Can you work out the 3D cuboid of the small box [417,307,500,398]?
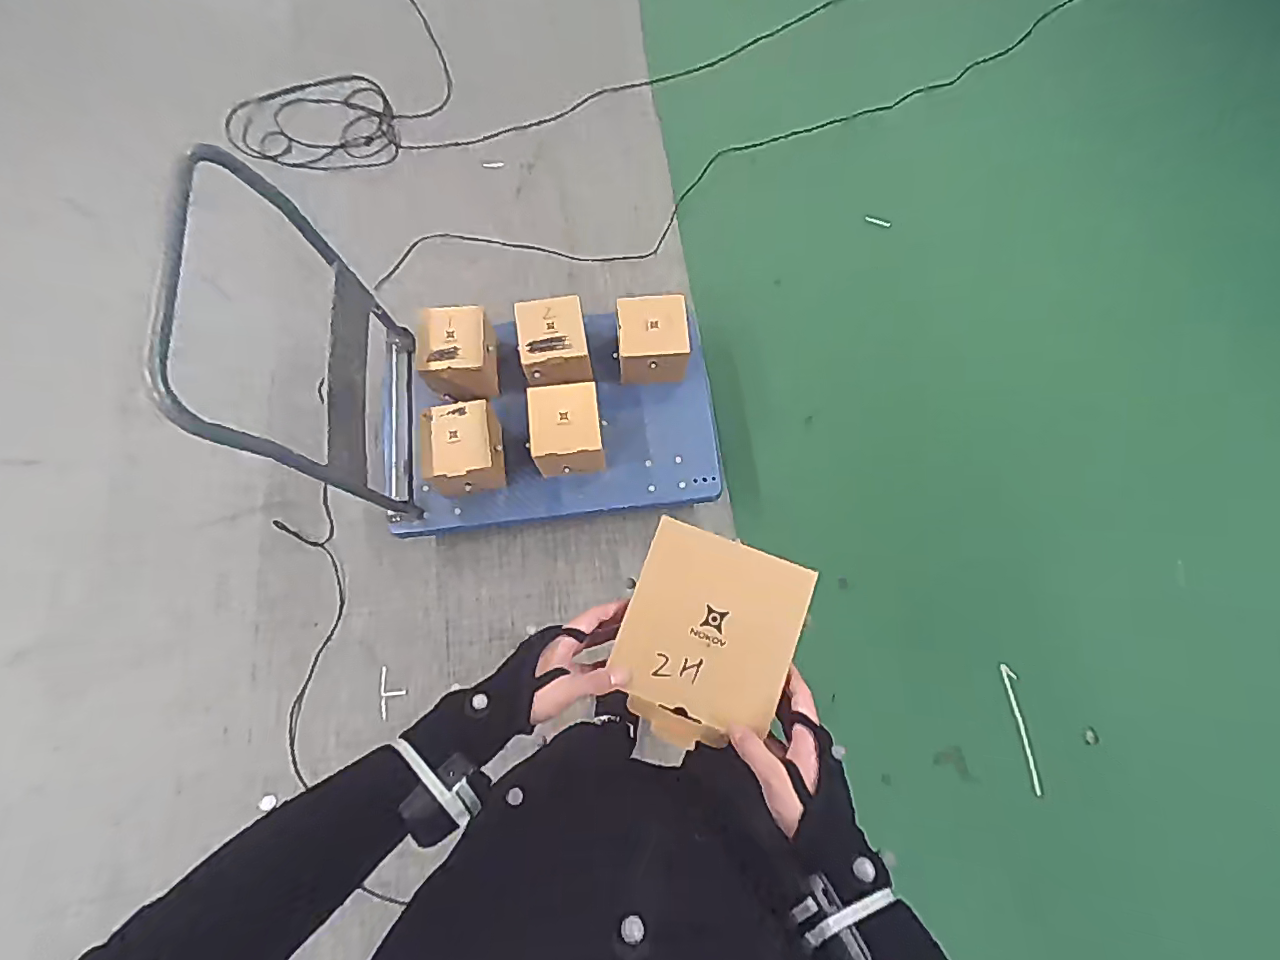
[{"bbox_3d":[-0.462,-0.322,1.399,0.168,0.176,0.179,-4,73,-2],"label":"small box"}]

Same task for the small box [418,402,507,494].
[{"bbox_3d":[-0.429,-0.071,1.326,0.168,0.176,0.179,-9,74,-3],"label":"small box"}]

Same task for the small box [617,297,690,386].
[{"bbox_3d":[0.034,-0.357,1.418,0.179,0.176,0.168,-4,75,-1],"label":"small box"}]

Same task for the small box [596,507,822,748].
[{"bbox_3d":[0.072,0.153,0.599,0.168,0.176,0.179,26,82,10],"label":"small box"}]
